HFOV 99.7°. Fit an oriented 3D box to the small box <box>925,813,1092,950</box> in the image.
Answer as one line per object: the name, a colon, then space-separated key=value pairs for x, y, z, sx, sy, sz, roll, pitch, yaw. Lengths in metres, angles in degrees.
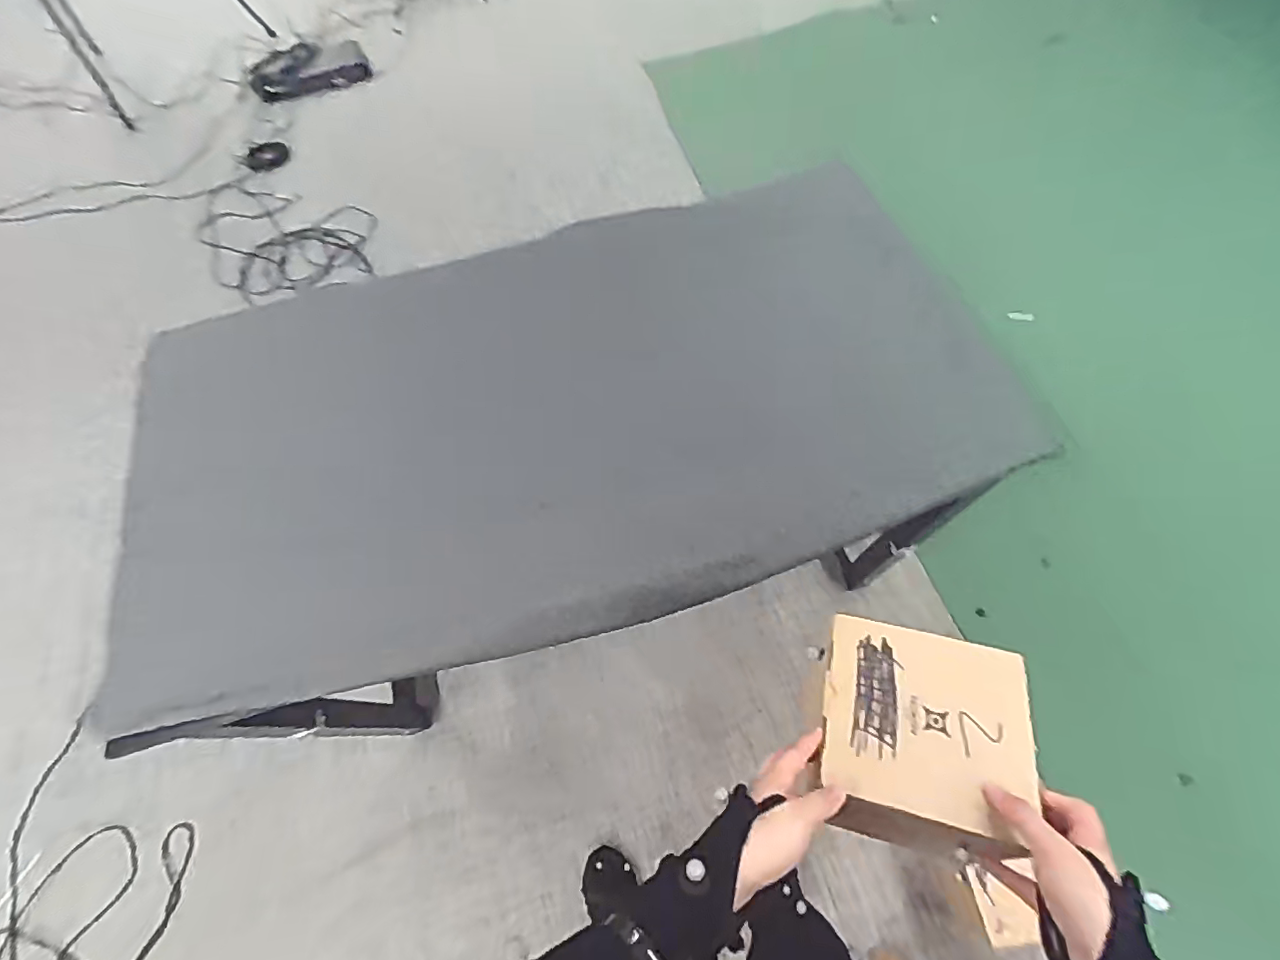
small box: x=0.683 y=0.750 z=1.027 sx=0.179 sy=0.176 sz=0.168 roll=-9 pitch=66 yaw=1

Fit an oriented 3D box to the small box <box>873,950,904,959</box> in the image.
small box: x=0.498 y=0.979 z=0.937 sx=0.168 sy=0.176 sz=0.179 roll=18 pitch=67 yaw=12

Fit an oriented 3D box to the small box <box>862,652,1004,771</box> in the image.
small box: x=0.612 y=0.491 z=1.153 sx=0.168 sy=0.176 sz=0.179 roll=-24 pitch=66 yaw=-7
